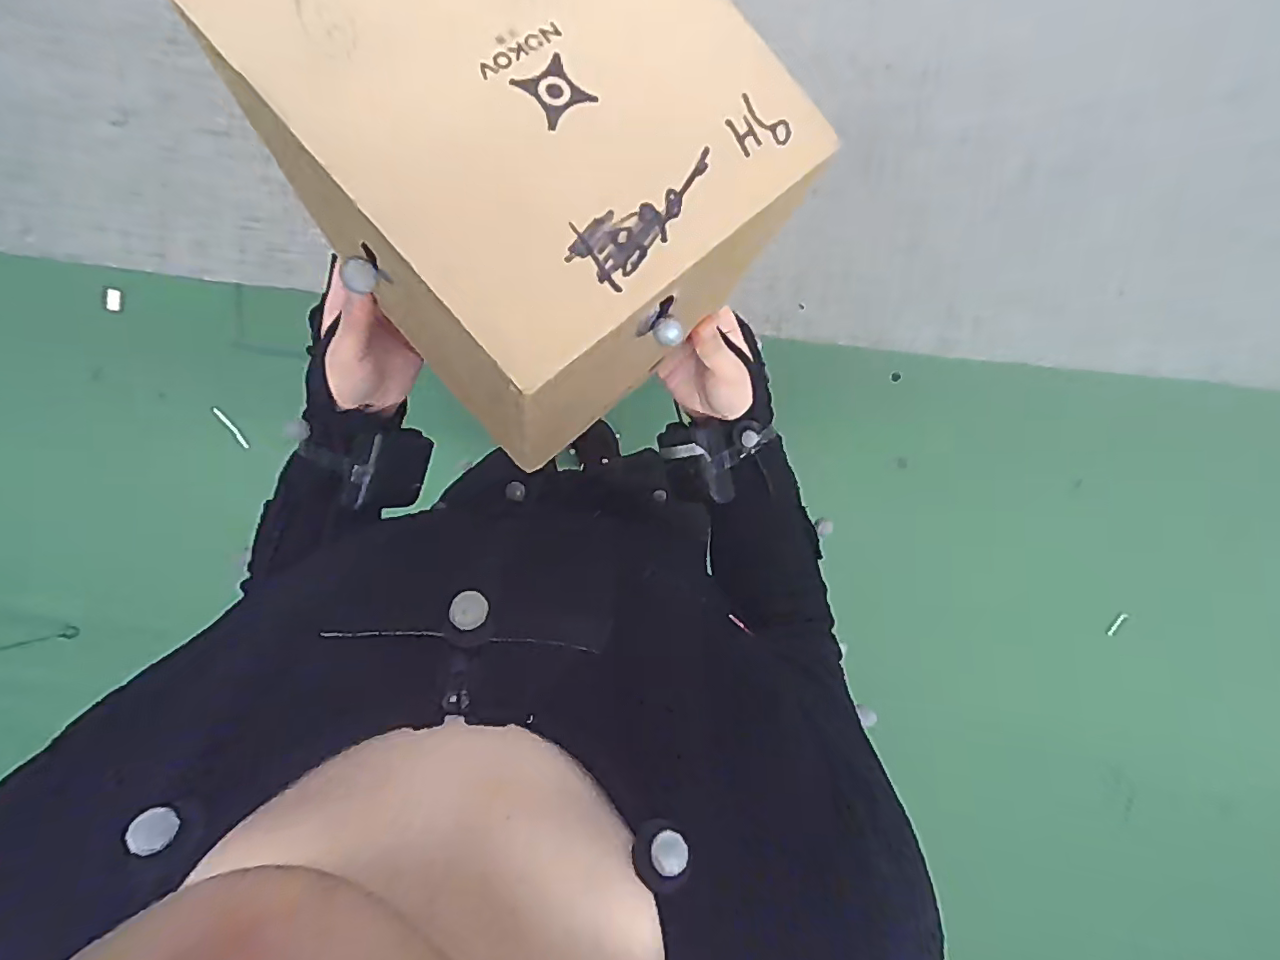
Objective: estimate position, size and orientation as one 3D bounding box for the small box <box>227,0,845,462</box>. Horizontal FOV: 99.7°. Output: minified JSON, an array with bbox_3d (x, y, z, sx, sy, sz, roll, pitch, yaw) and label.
[{"bbox_3d":[-0.043,-0.131,0.282,0.168,0.176,0.179,-42,91,-13],"label":"small box"}]
